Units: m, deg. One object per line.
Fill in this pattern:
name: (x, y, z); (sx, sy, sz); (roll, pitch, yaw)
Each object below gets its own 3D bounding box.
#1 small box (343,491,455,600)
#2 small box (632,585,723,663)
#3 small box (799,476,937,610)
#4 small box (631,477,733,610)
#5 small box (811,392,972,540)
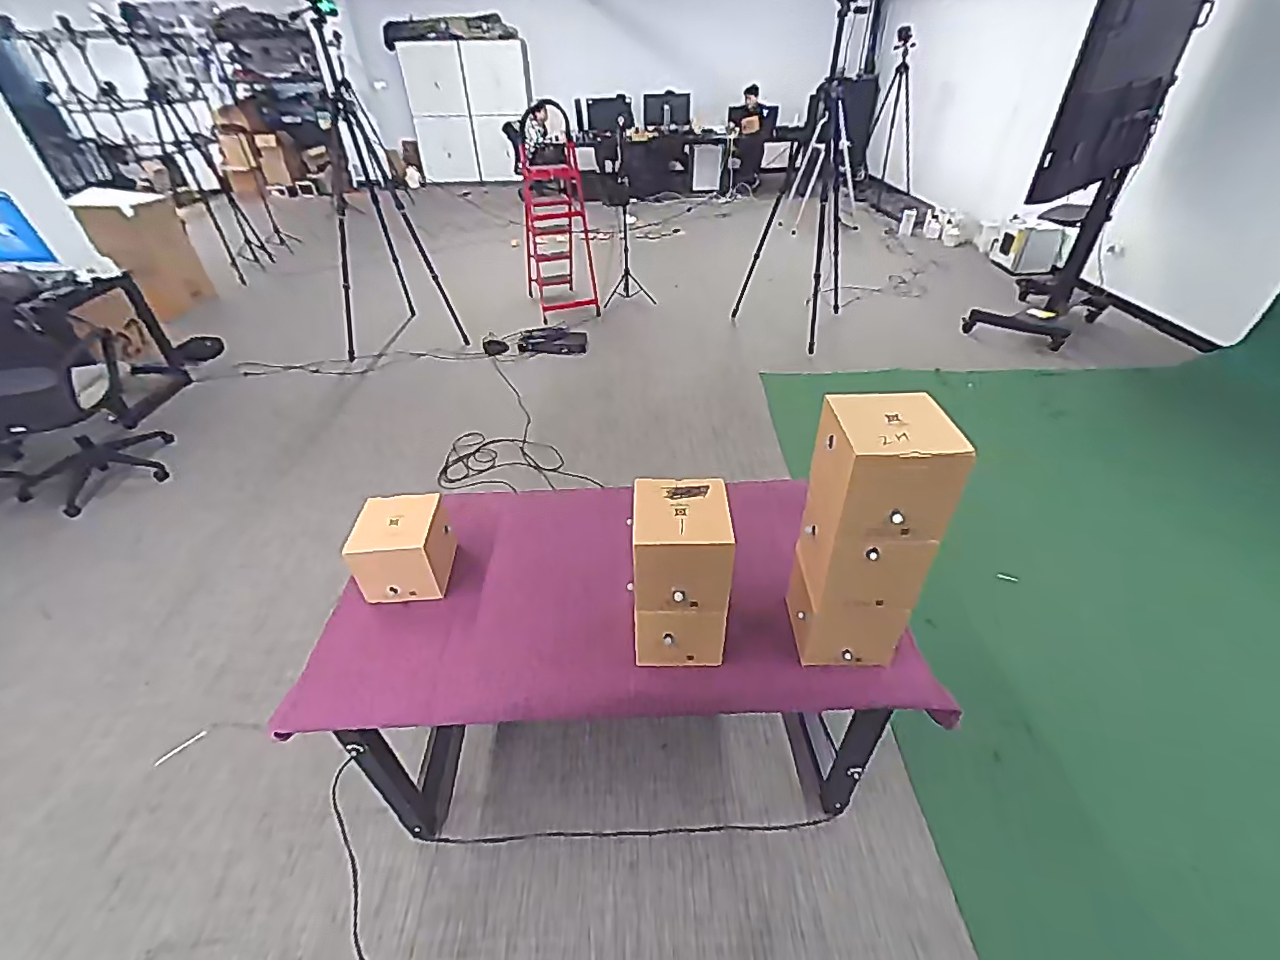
small box: (-0.526, 0.147, 1.211); (0.168, 0.176, 0.179); (-4, 39, -2)
small box: (0.073, 0.244, 1.070); (0.168, 0.176, 0.179); (-1, 37, 1)
small box: (0.388, 0.108, 0.960); (0.168, 0.176, 0.179); (-1, 37, 3)
small box: (0.071, 0.112, 0.972); (0.168, 0.176, 0.179); (-1, 38, 2)
small box: (0.382, -0.025, 0.862); (0.168, 0.176, 0.179); (-1, 38, 3)
